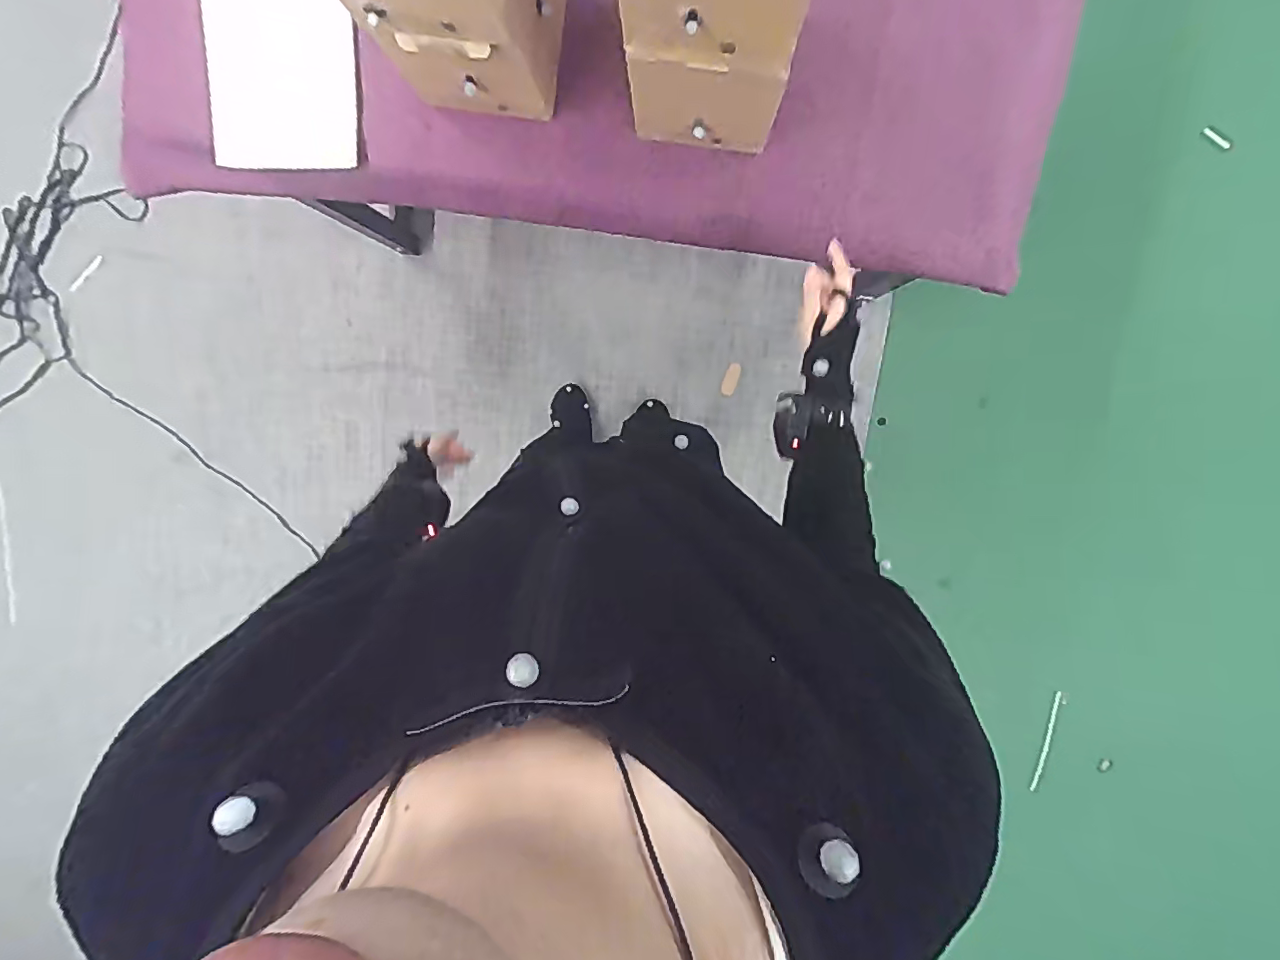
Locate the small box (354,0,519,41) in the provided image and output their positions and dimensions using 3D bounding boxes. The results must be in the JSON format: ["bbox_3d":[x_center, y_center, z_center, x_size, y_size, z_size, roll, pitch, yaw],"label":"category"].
[{"bbox_3d":[-0.197,-0.526,0.461,0.168,0.176,0.179,9,98,2],"label":"small box"}]

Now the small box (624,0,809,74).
[{"bbox_3d":[0.074,-0.492,0.451,0.168,0.176,0.179,9,98,2],"label":"small box"}]

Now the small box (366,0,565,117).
[{"bbox_3d":[-0.187,-0.556,0.623,0.168,0.176,0.179,9,99,1],"label":"small box"}]
